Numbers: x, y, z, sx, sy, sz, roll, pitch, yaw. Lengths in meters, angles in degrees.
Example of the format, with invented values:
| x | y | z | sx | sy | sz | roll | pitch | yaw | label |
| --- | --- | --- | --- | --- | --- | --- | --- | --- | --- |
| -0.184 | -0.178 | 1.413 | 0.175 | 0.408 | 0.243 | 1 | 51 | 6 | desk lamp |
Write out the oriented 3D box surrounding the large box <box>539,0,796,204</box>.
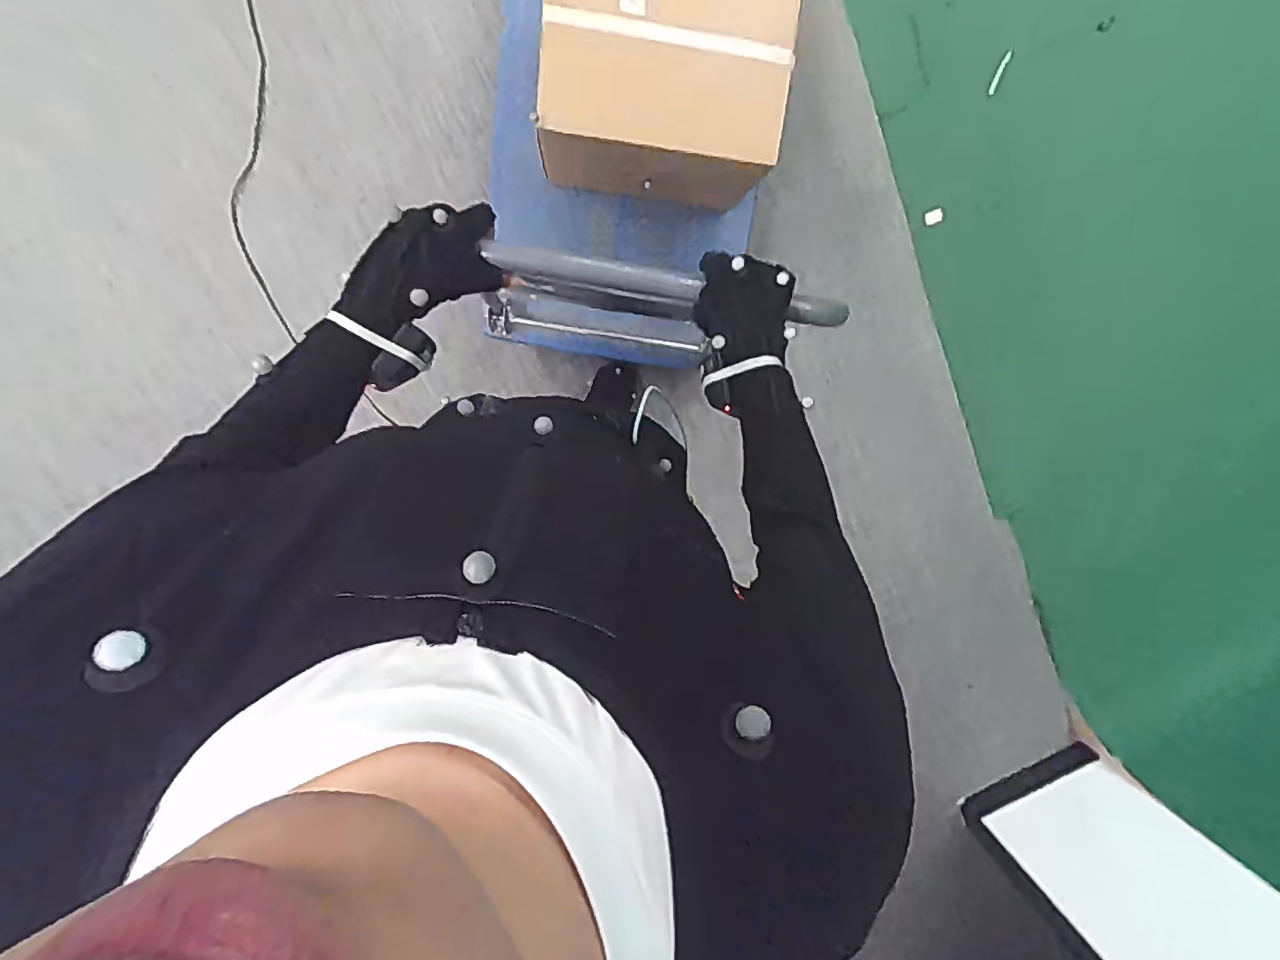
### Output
| x | y | z | sx | sy | sz | roll | pitch | yaw | label |
| --- | --- | --- | --- | --- | --- | --- | --- | --- | --- |
| 0.034 | -0.733 | 1.004 | 0.408 | 0.320 | 0.320 | 5 | 102 | -7 | large box |
